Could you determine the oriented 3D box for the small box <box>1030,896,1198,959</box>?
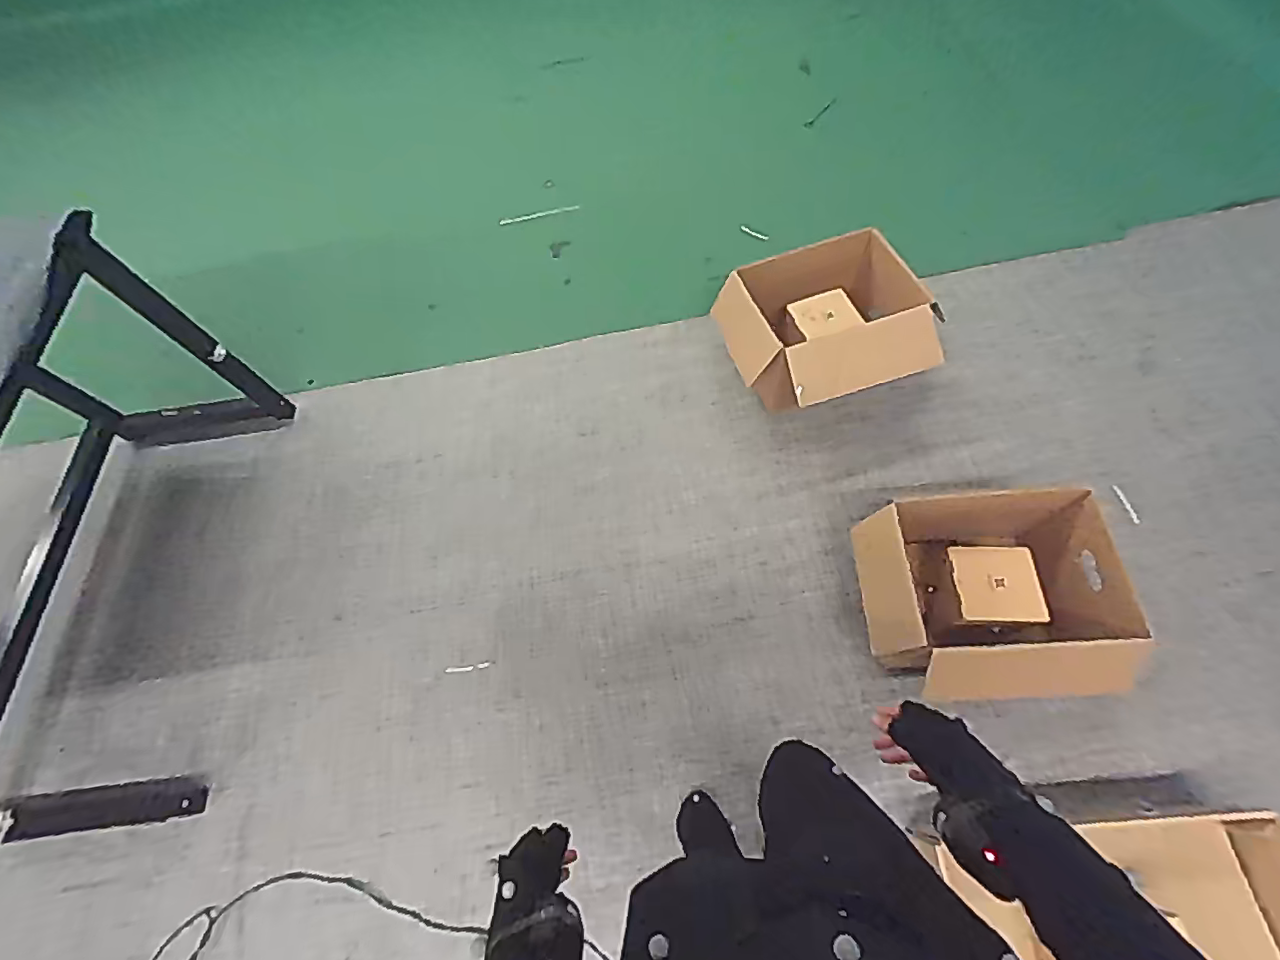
[{"bbox_3d":[0.815,0.837,0.928,0.179,0.176,0.168,-3,64,3],"label":"small box"}]
